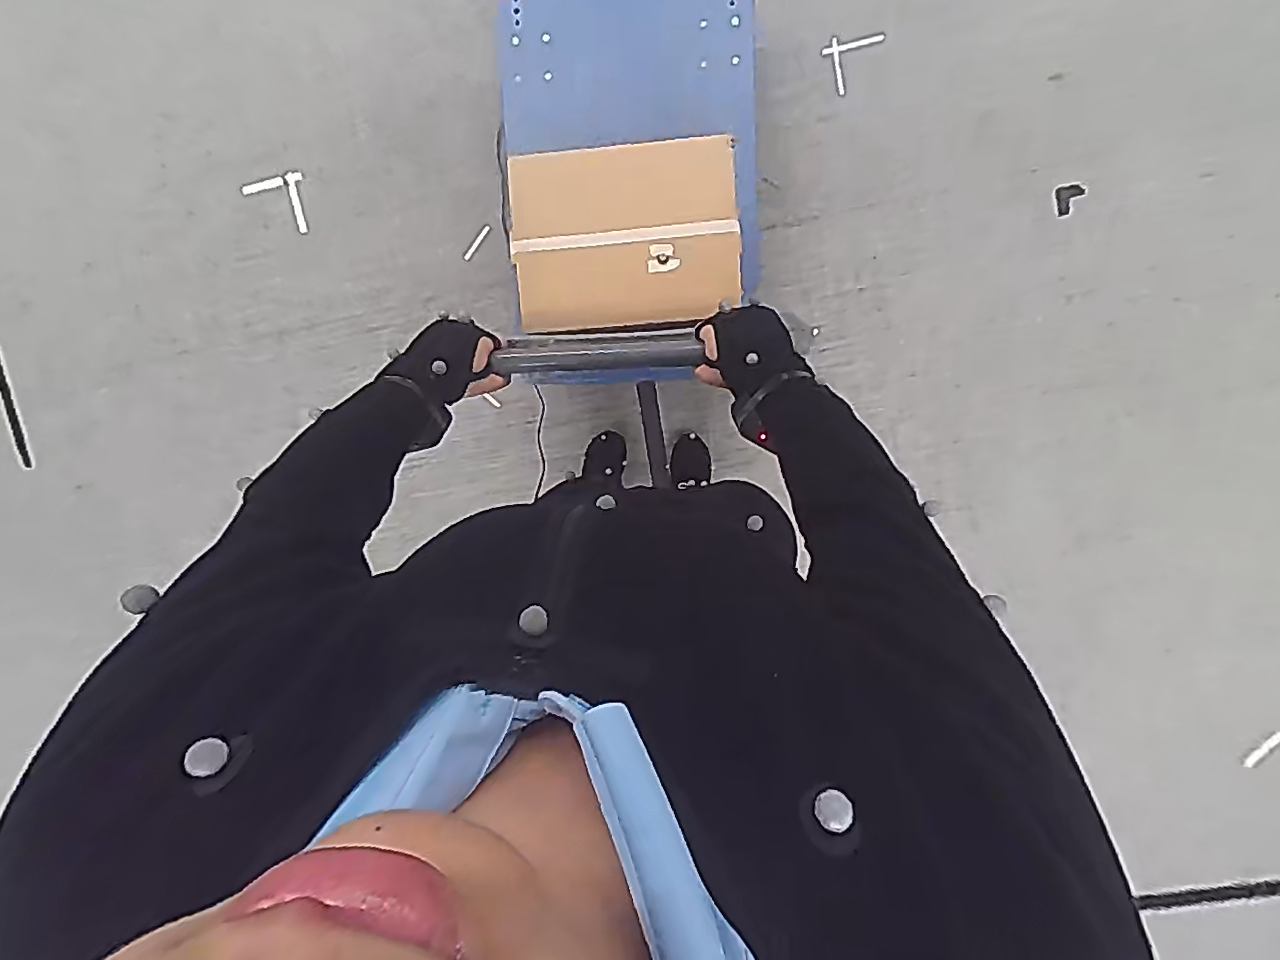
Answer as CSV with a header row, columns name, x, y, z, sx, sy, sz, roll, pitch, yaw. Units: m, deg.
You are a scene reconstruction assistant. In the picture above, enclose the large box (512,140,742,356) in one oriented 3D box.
name,x,y,z,sx,sy,sz,roll,pitch,yaw
large box,-0.017,-0.451,1.135,0.408,0.320,0.320,-5,97,3
